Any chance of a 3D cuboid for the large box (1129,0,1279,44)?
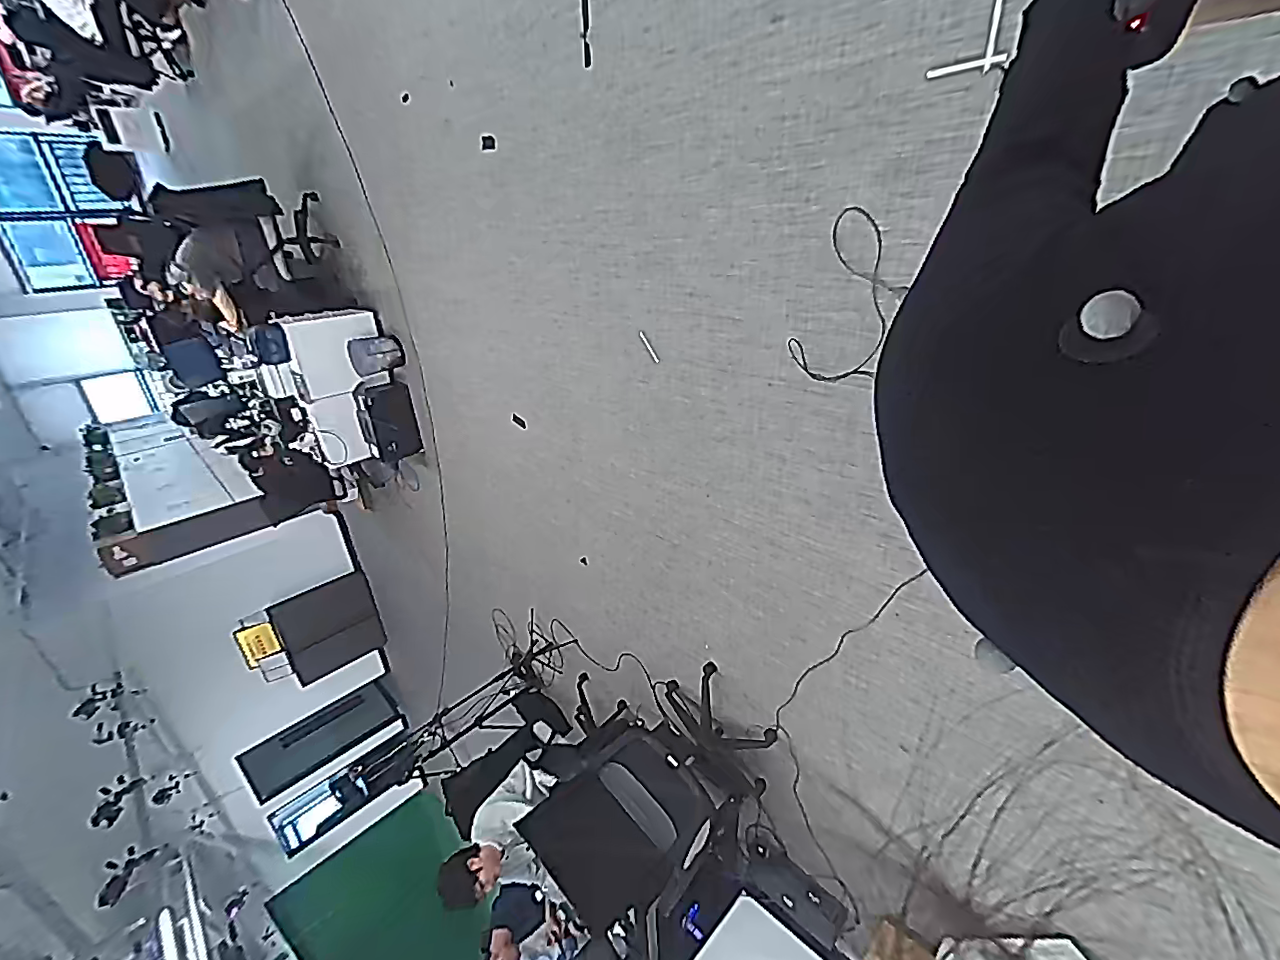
[{"bbox_3d":[0.580,-0.480,0.284,0.408,0.320,0.320,20,131,41],"label":"large box"}]
